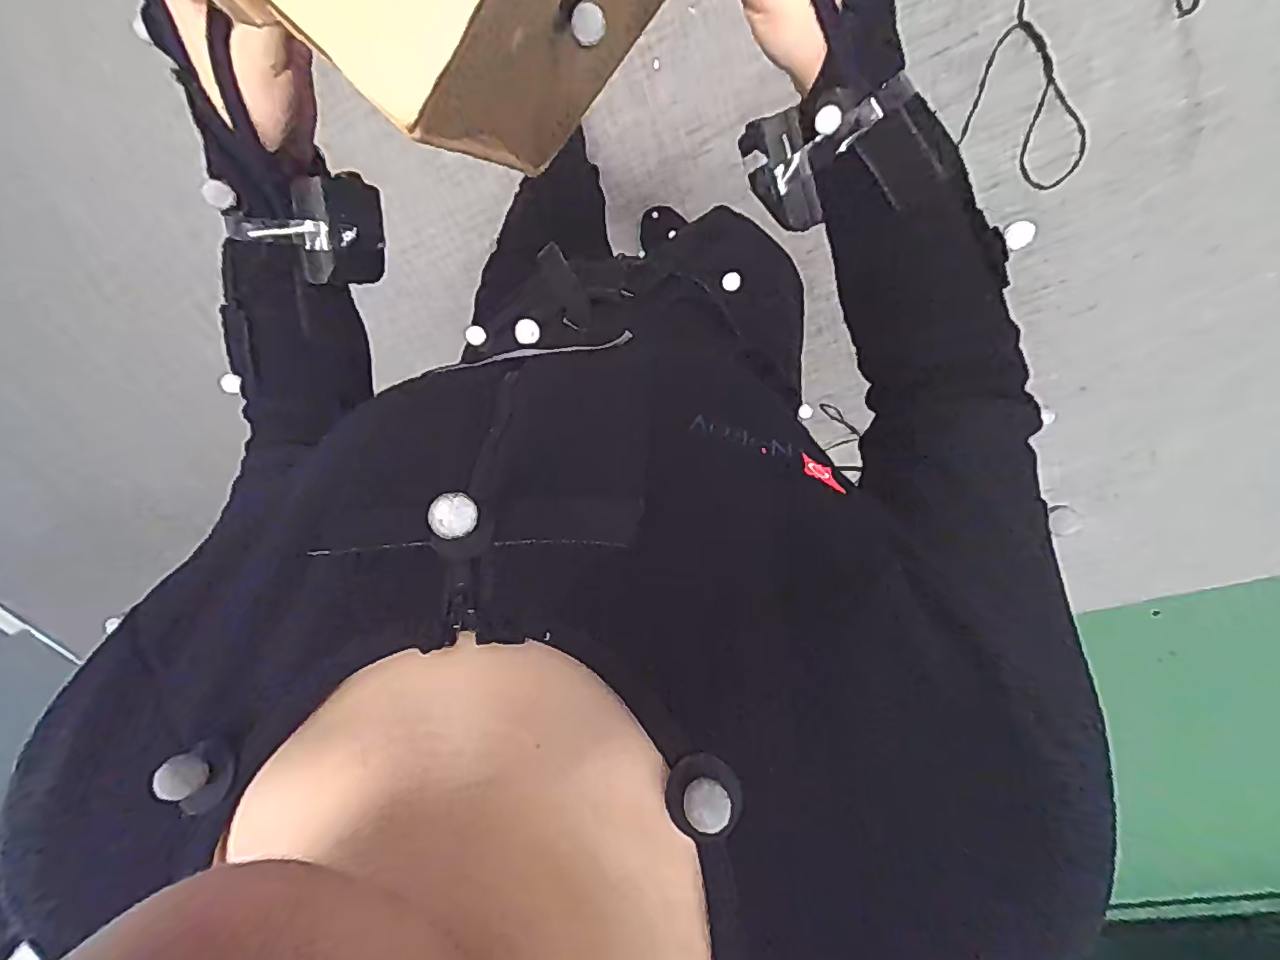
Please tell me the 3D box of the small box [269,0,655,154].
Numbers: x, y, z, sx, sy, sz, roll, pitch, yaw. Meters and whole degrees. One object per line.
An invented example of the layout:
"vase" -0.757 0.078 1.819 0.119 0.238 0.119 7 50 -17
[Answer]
"small box" -0.075 -0.269 0.219 0.168 0.176 0.179 42 113 -12
